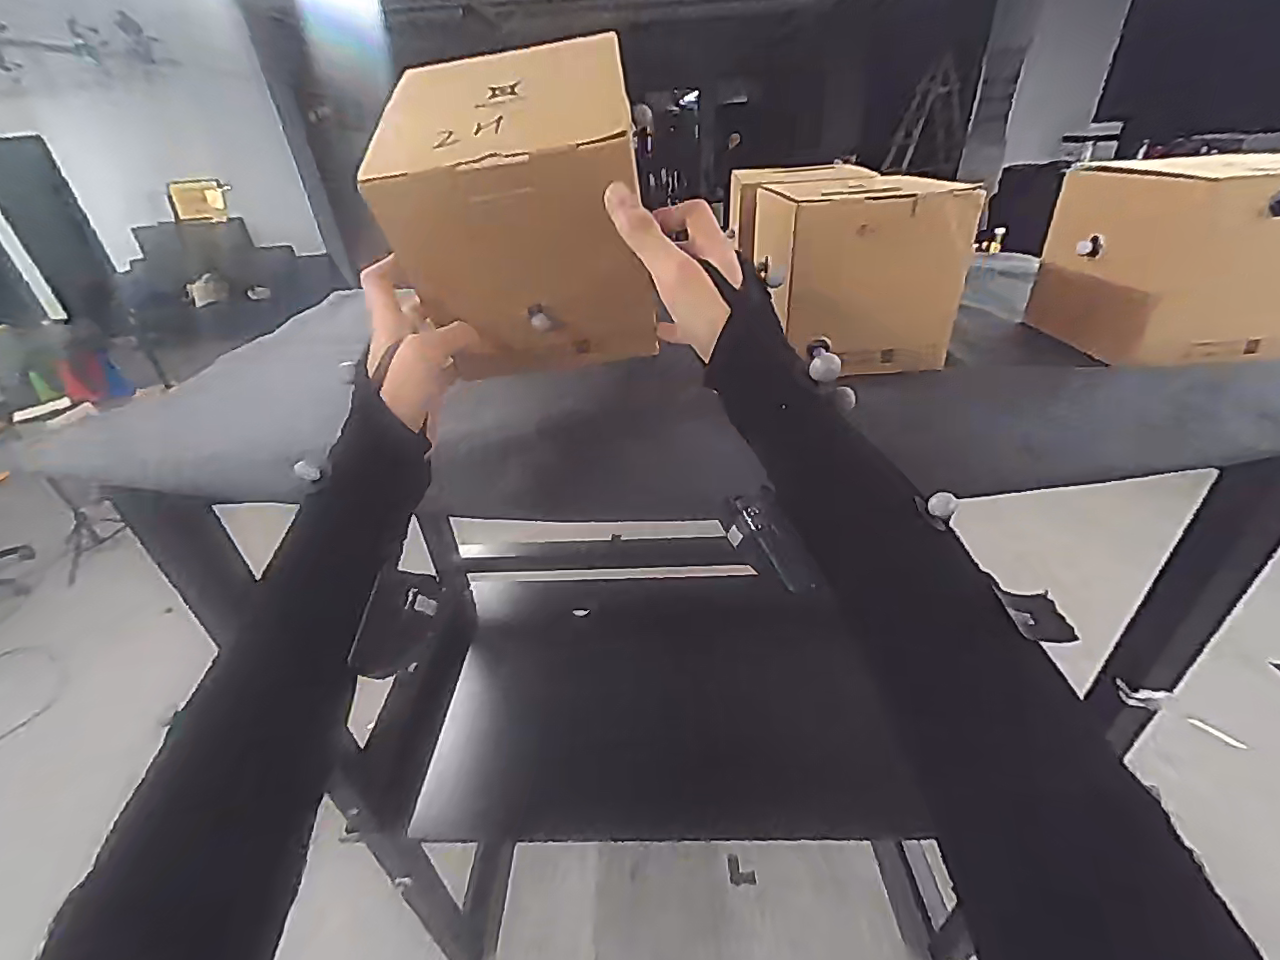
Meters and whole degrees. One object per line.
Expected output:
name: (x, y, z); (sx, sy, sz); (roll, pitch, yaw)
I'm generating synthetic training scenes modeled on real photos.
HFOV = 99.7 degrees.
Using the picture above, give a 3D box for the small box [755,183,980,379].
small box: (0.224, -0.215, 0.587); (0.168, 0.176, 0.179); (-3, 32, 1)

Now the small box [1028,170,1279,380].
small box: (0.541, -0.210, 0.546); (0.168, 0.176, 0.179); (-3, 32, 2)

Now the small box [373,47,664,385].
small box: (-0.074, -0.201, 0.429); (0.168, 0.176, 0.179); (-7, 55, 4)
